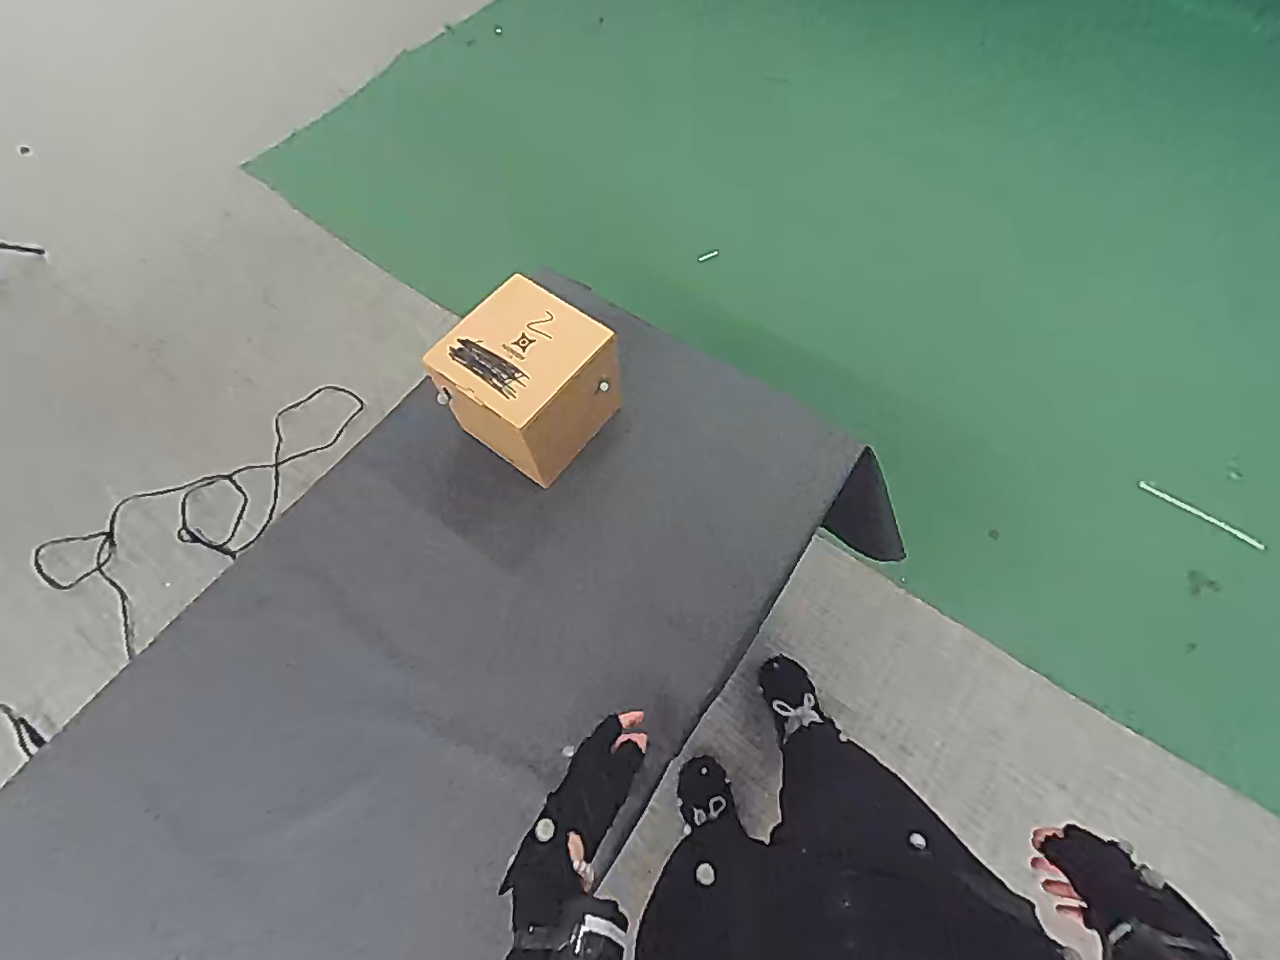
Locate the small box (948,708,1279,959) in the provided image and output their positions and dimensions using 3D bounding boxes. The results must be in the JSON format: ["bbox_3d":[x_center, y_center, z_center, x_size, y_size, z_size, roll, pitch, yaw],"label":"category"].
[{"bbox_3d":[0.396,0.339,0.456,0.179,0.176,0.168,-9,32,-35],"label":"small box"}]
